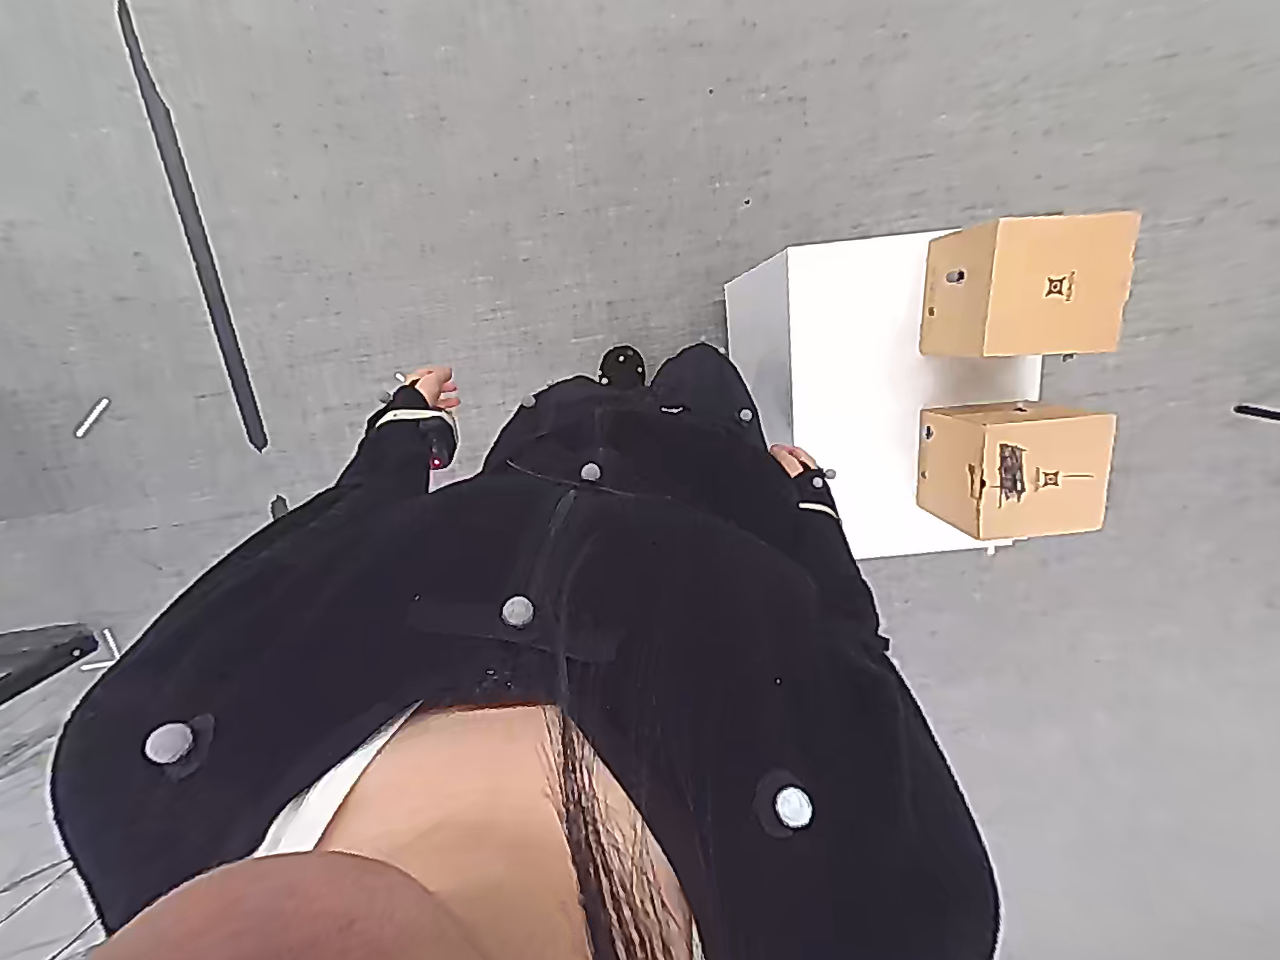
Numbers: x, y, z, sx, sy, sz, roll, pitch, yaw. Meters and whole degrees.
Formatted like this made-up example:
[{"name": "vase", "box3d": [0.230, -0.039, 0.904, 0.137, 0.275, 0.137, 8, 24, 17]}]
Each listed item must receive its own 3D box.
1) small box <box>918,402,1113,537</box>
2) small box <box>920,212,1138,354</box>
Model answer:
[{"name": "small box", "box3d": [0.542, -0.024, 0.808, 0.179, 0.176, 0.168, -5, 104, 0]}, {"name": "small box", "box3d": [0.515, -0.260, 0.747, 0.179, 0.176, 0.168, -3, 105, 0]}]
